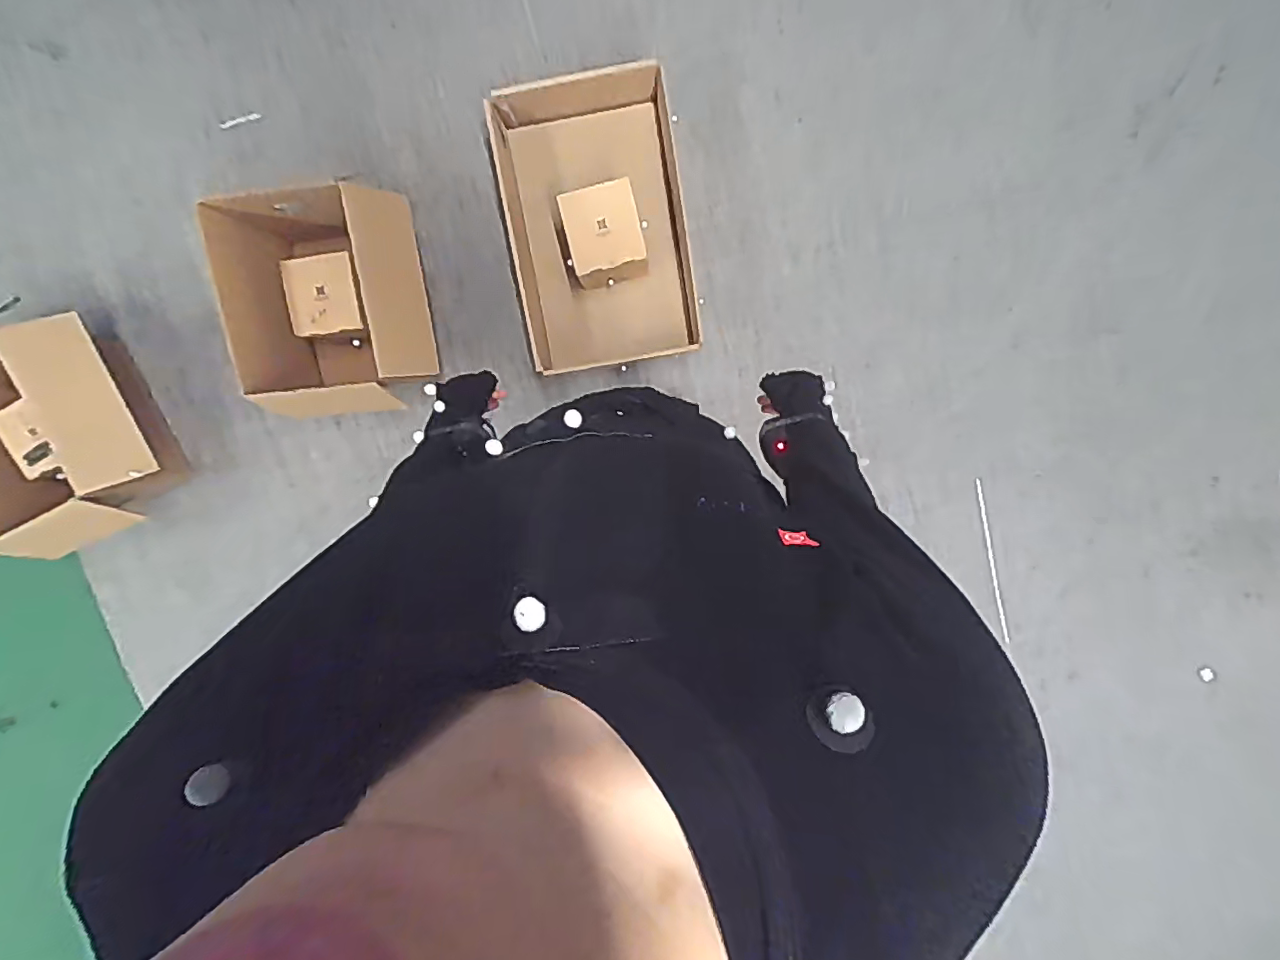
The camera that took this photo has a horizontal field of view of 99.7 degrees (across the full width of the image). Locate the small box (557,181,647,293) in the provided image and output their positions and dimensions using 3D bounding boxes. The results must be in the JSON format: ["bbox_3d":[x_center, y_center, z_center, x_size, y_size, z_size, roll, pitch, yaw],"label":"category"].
[{"bbox_3d":[-0.084,-0.558,1.265,0.168,0.176,0.179,-14,98,3],"label":"small box"}]
